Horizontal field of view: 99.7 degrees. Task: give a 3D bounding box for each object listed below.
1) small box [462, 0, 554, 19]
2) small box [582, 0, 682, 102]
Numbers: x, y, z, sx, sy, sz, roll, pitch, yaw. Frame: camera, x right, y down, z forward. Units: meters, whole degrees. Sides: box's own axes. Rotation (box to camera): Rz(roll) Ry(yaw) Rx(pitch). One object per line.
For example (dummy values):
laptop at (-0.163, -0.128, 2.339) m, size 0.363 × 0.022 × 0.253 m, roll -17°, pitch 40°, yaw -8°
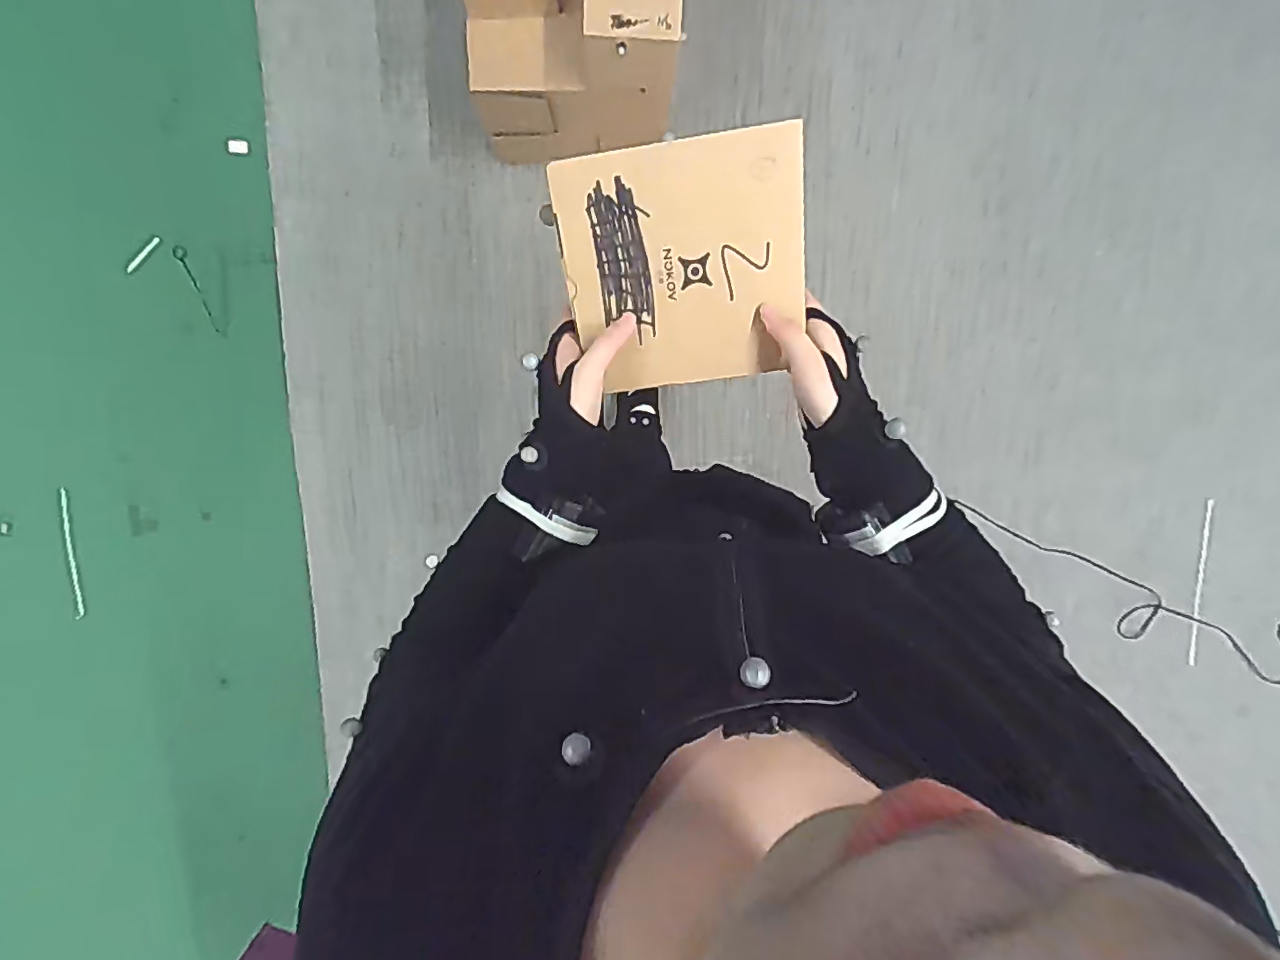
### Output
small box at (-0.247, -0.967, 0.960) m, size 0.179 × 0.176 × 0.168 m, roll -2°, pitch 95°, yaw 1°
small box at (-0.014, -0.828, 0.974) m, size 0.168 × 0.176 × 0.179 m, roll 3°, pitch 96°, yaw -1°
